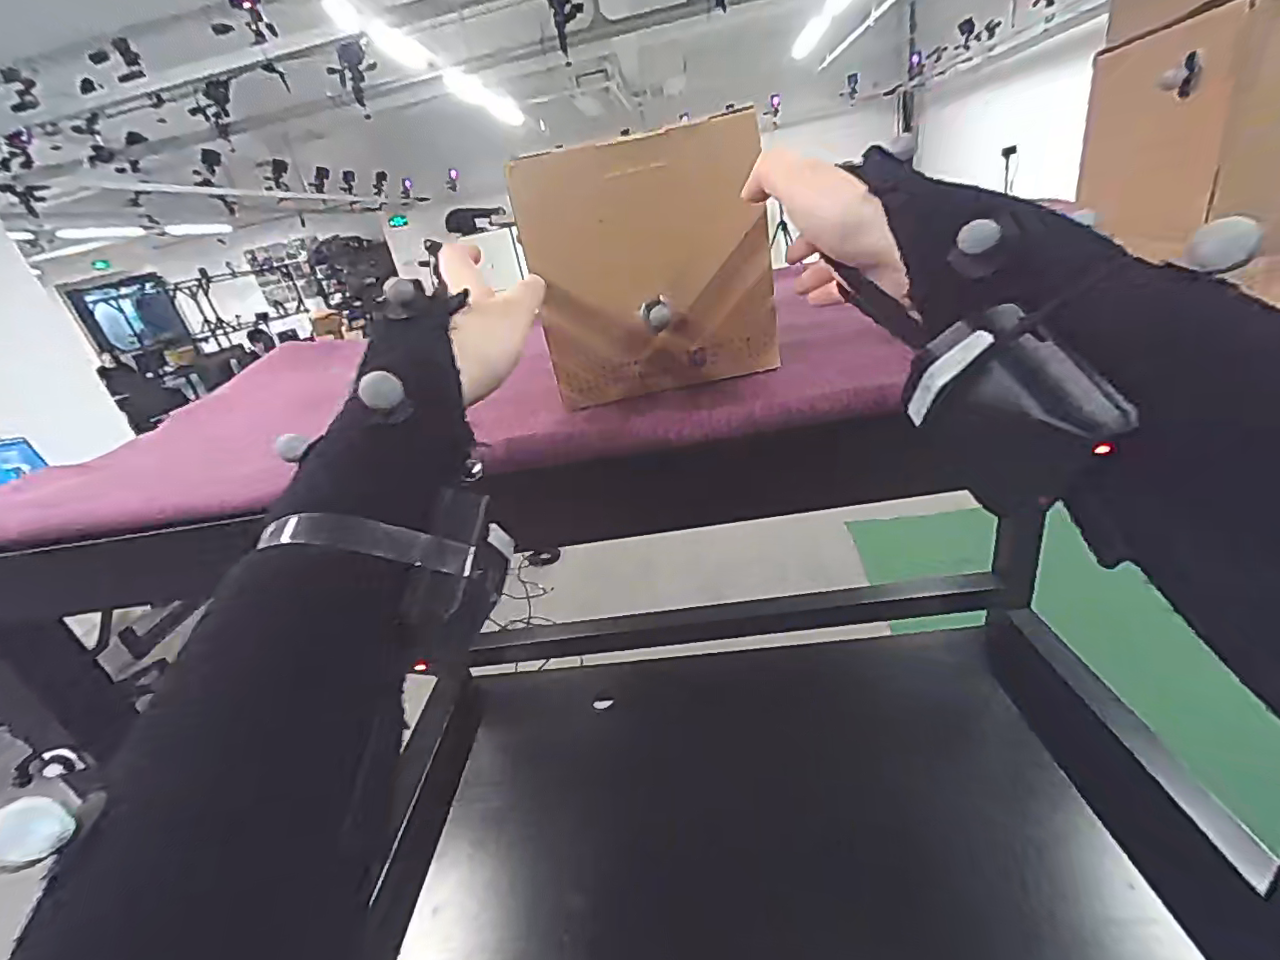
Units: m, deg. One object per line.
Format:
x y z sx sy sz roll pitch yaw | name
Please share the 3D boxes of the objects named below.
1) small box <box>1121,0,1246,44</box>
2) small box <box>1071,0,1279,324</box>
0.383 -0.345 0.267 0.168 0.176 0.179 -3 29 21 | small box
0.414 -0.207 0.345 0.168 0.176 0.179 -4 28 17 | small box
